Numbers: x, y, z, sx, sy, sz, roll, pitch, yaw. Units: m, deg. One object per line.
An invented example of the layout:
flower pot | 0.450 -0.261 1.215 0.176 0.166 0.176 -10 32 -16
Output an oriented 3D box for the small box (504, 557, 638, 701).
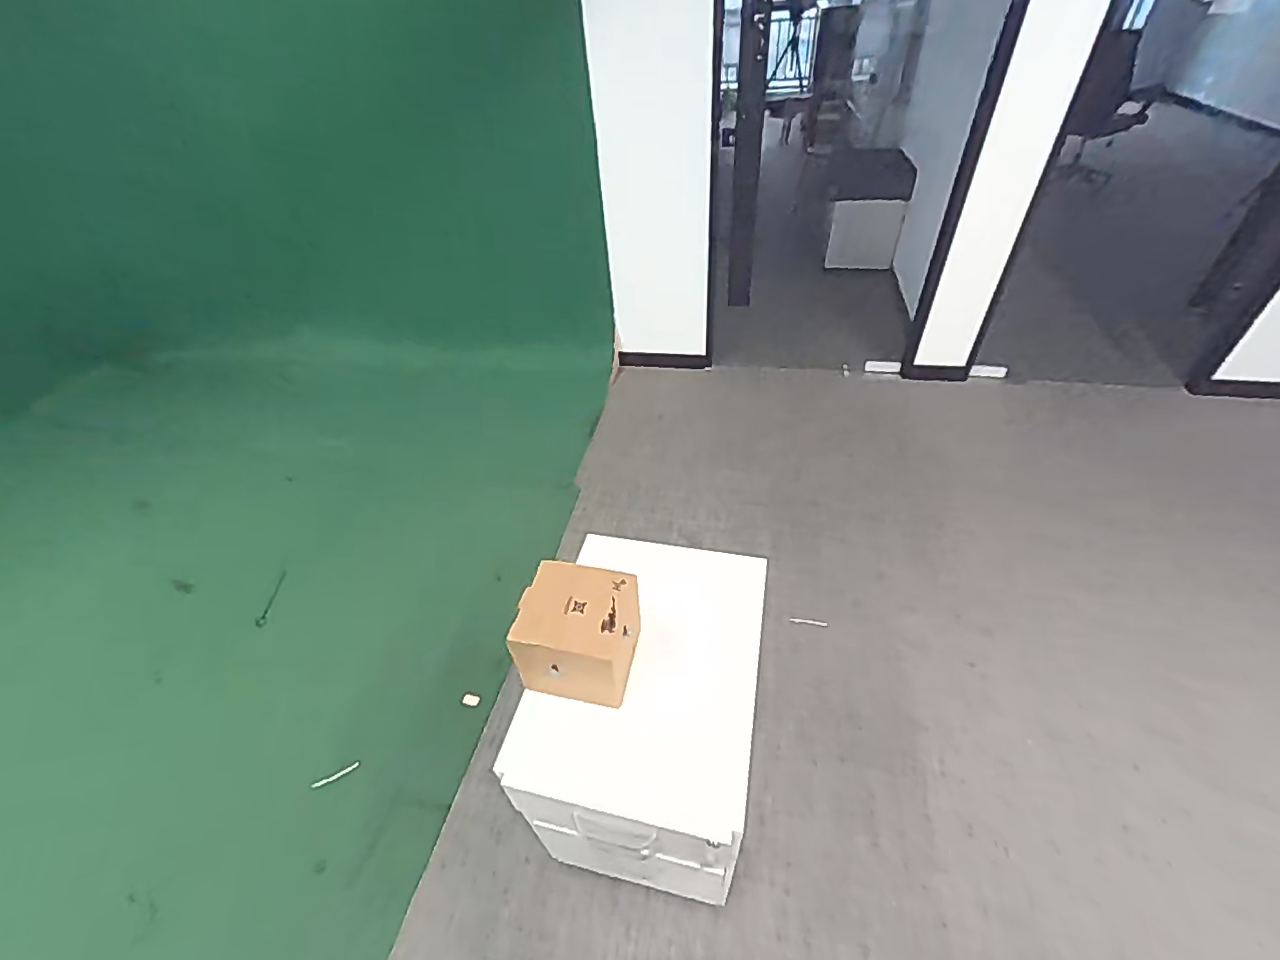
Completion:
small box | -0.108 0.258 0.935 0.179 0.176 0.168 7 45 11
